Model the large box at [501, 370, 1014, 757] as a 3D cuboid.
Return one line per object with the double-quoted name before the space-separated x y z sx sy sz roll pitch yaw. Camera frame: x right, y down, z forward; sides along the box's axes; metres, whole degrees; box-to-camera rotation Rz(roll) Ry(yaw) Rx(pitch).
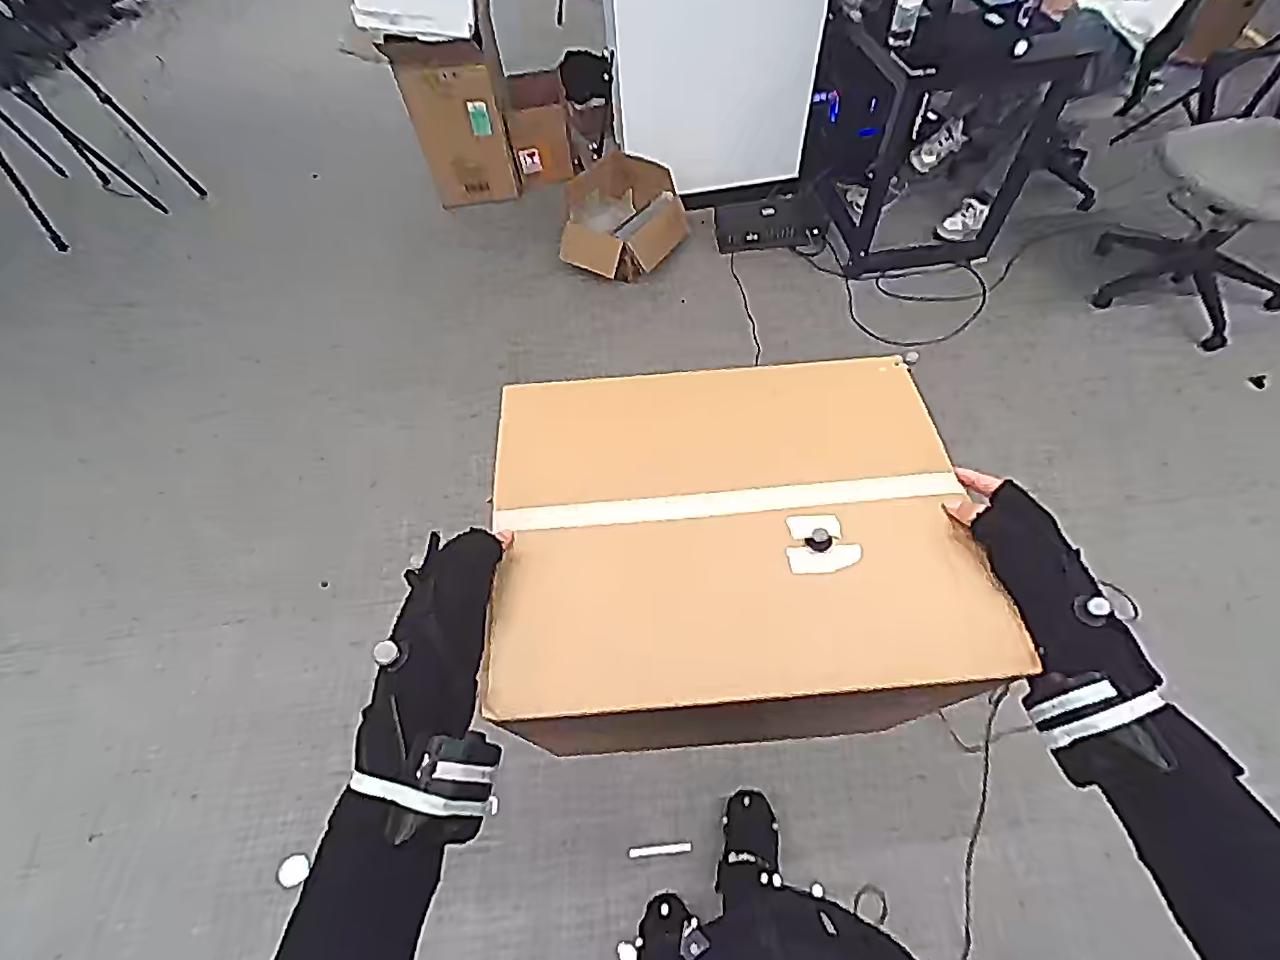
"large box" 0.081 0.108 0.611 0.408 0.320 0.320 -5 58 -1
